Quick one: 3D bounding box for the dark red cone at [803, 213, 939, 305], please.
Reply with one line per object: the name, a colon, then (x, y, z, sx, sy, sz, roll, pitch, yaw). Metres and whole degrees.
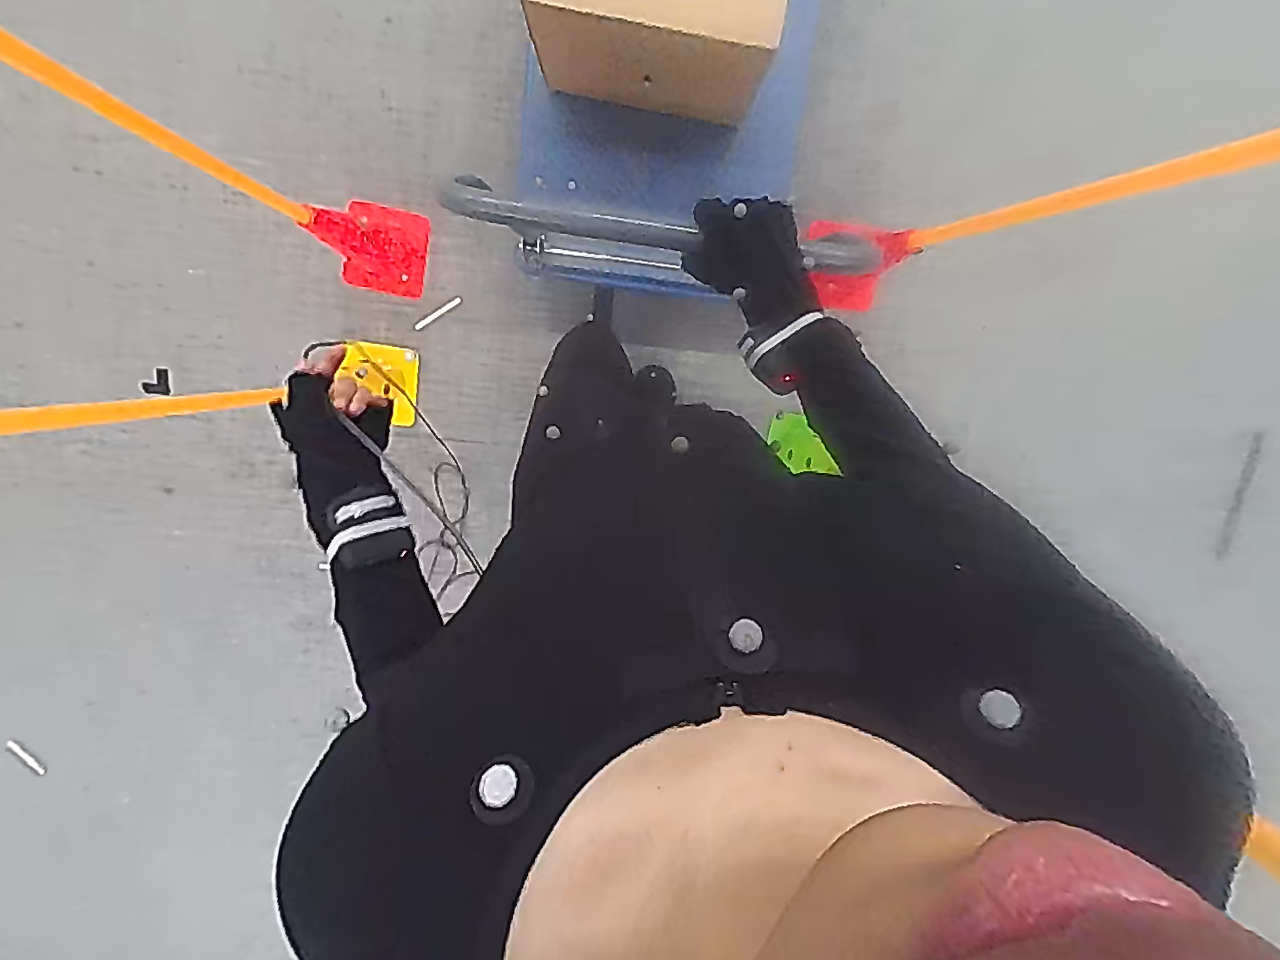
dark red cone: (0.515, -0.505, 1.172, 0.201, 0.394, 0.202, 5, 103, -4)

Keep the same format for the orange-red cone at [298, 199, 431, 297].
orange-red cone: (-0.619, -0.534, 1.164, 0.198, 0.360, 0.199, 13, 101, -5)

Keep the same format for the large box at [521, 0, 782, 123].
large box: (0.034, -0.878, 0.947, 0.408, 0.320, 0.320, 9, 104, -3)

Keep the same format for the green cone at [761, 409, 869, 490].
green cone: (0.445, -0.042, 1.297, 0.202, 0.368, 0.200, 9, 103, -4)
